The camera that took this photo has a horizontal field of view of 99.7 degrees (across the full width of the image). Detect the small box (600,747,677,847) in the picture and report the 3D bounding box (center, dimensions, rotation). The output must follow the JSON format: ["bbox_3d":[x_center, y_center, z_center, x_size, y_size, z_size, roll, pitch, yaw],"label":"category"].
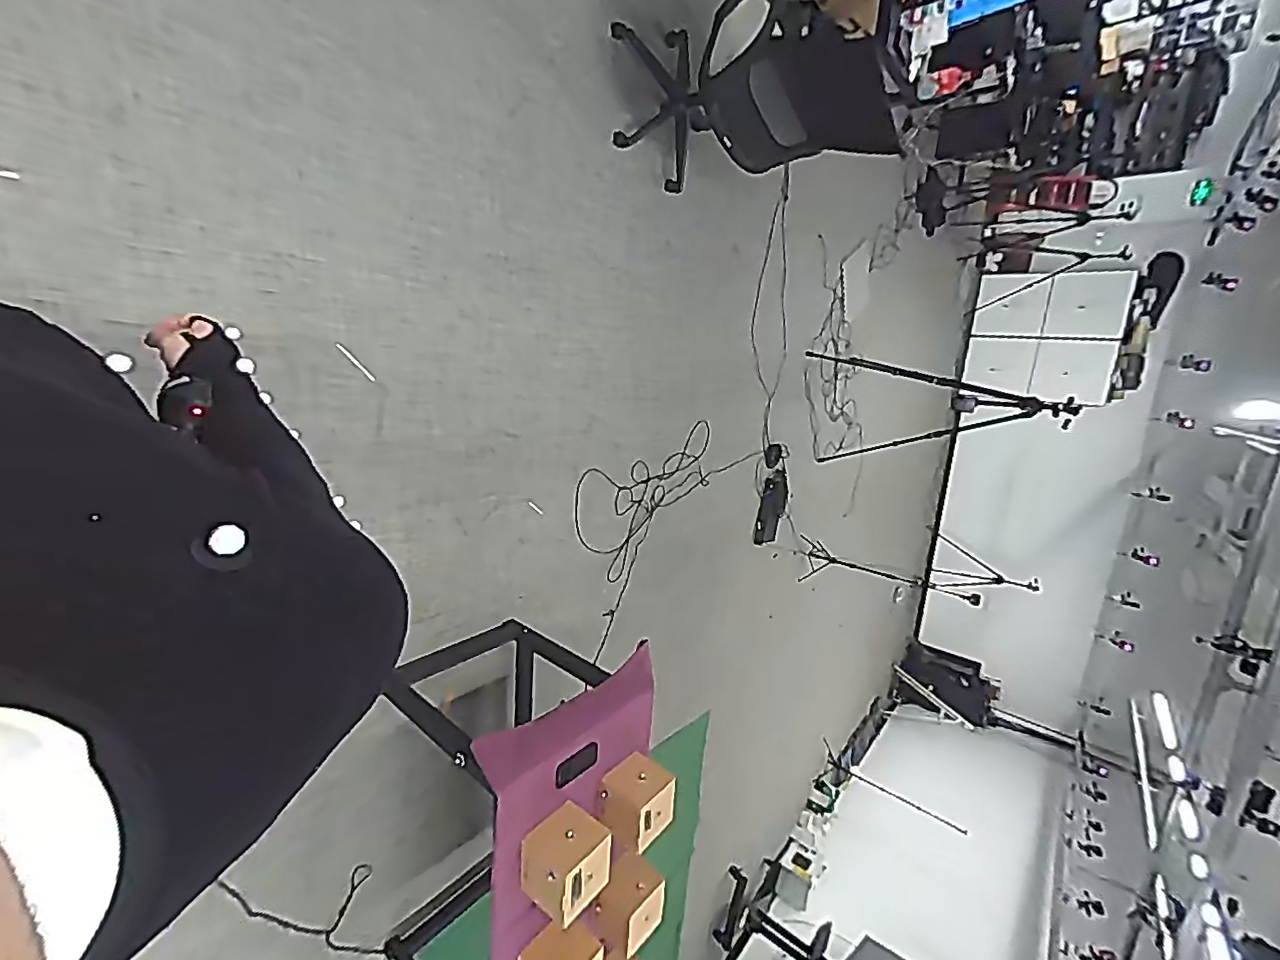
[{"bbox_3d":[-0.007,0.978,1.683,0.179,0.176,0.168,-11,110,-49],"label":"small box"}]

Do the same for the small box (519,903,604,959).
[{"bbox_3d":[-0.227,1.377,1.544,0.179,0.176,0.168,-11,110,-49],"label":"small box"}]

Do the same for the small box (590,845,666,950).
[{"bbox_3d":[-0.039,1.351,1.767,0.179,0.176,0.168,-9,107,-49],"label":"small box"}]
